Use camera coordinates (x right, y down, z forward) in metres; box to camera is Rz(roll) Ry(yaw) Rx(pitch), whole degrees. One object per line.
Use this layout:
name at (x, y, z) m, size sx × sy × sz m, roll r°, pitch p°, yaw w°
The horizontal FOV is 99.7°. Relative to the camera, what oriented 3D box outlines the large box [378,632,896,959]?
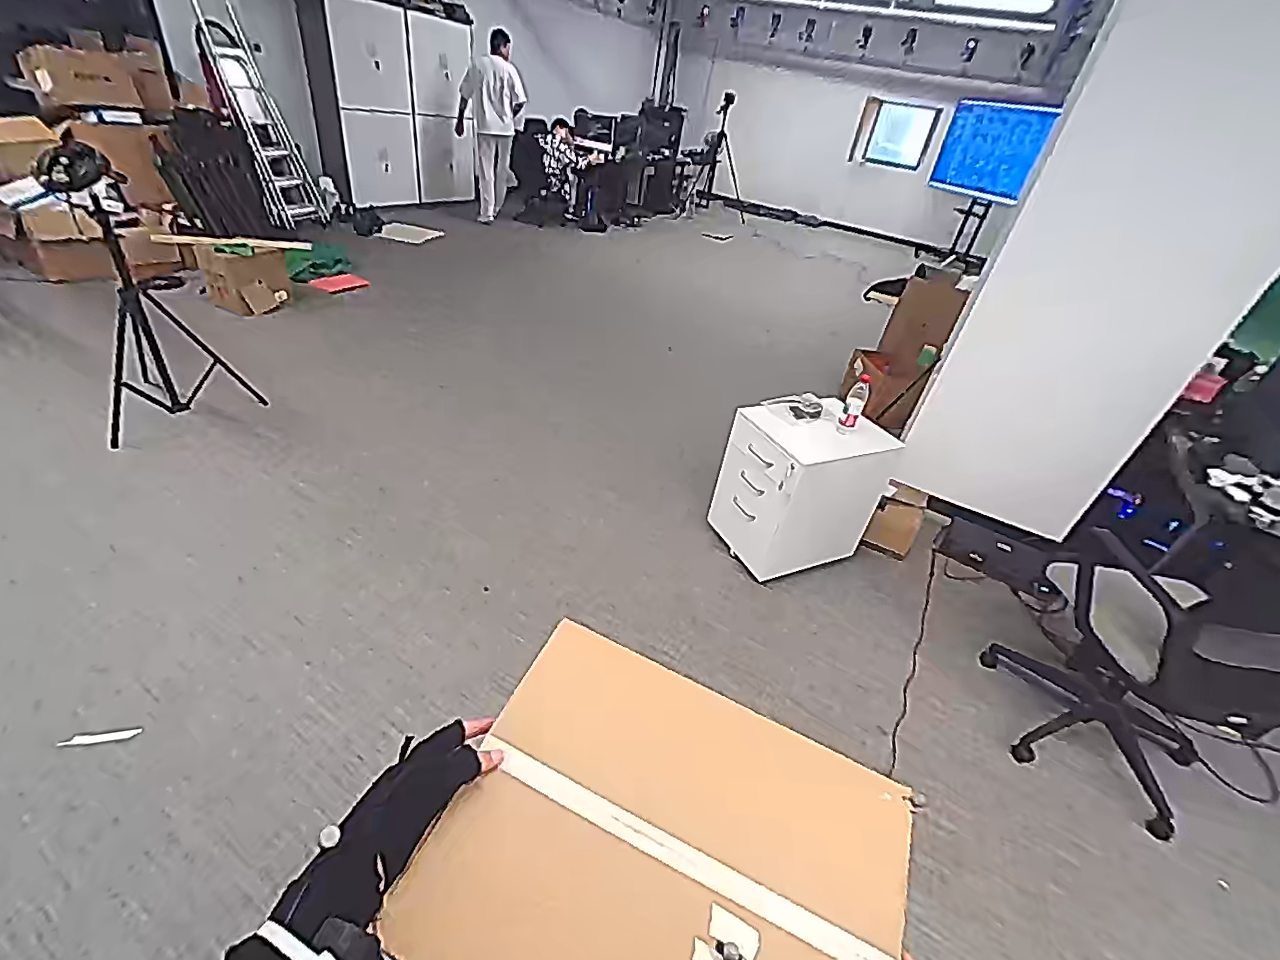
large box at (0.004, 0.445, 0.600) m, size 0.408 × 0.320 × 0.320 m, roll 24°, pitch 47°, yaw 11°
